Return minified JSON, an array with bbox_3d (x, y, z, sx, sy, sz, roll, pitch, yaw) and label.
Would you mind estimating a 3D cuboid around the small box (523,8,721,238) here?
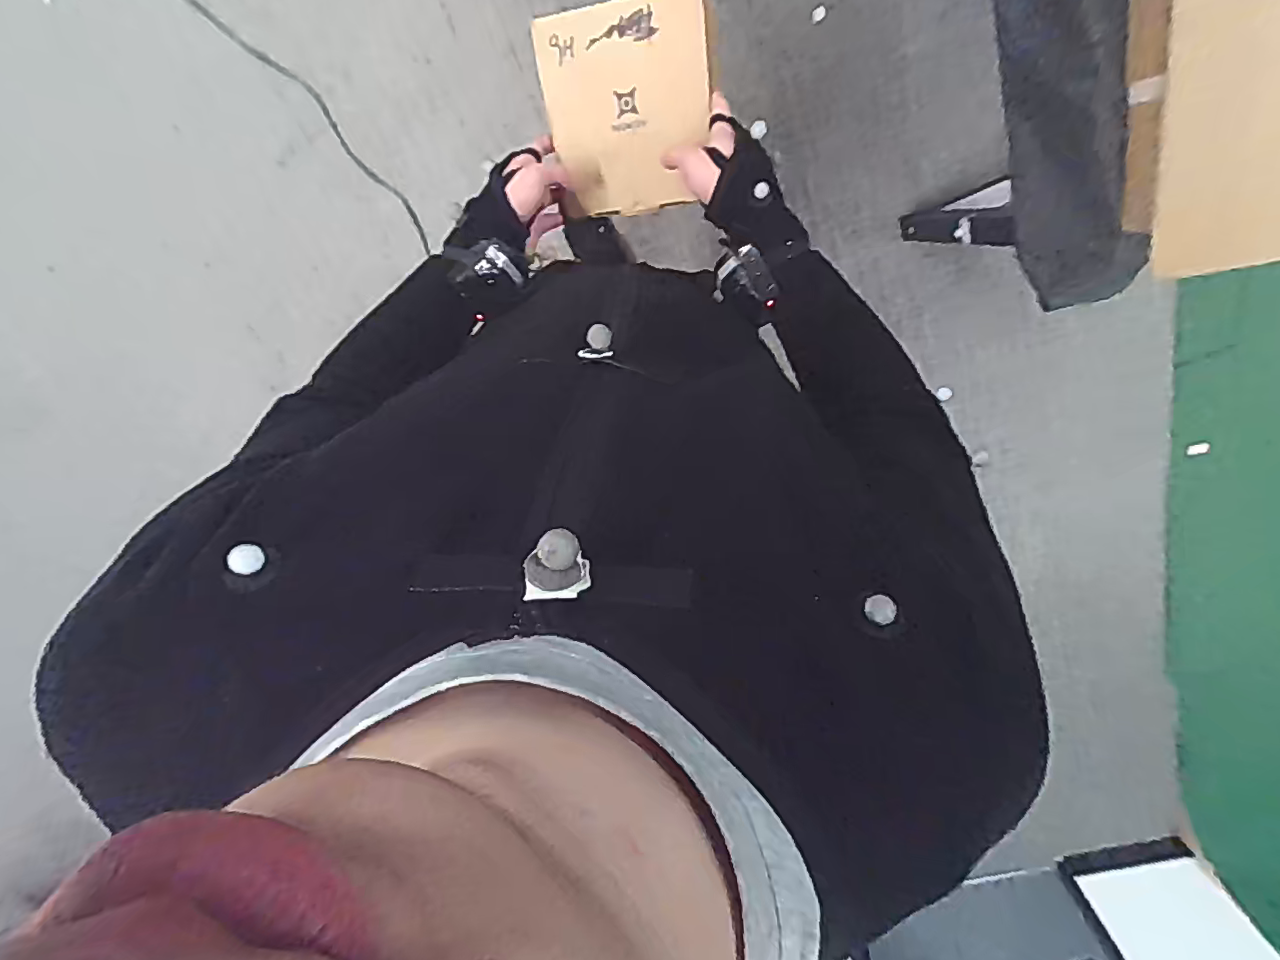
[{"bbox_3d":[-0.003,-0.383,0.591,0.168,0.176,0.179,0,126,14],"label":"small box"}]
